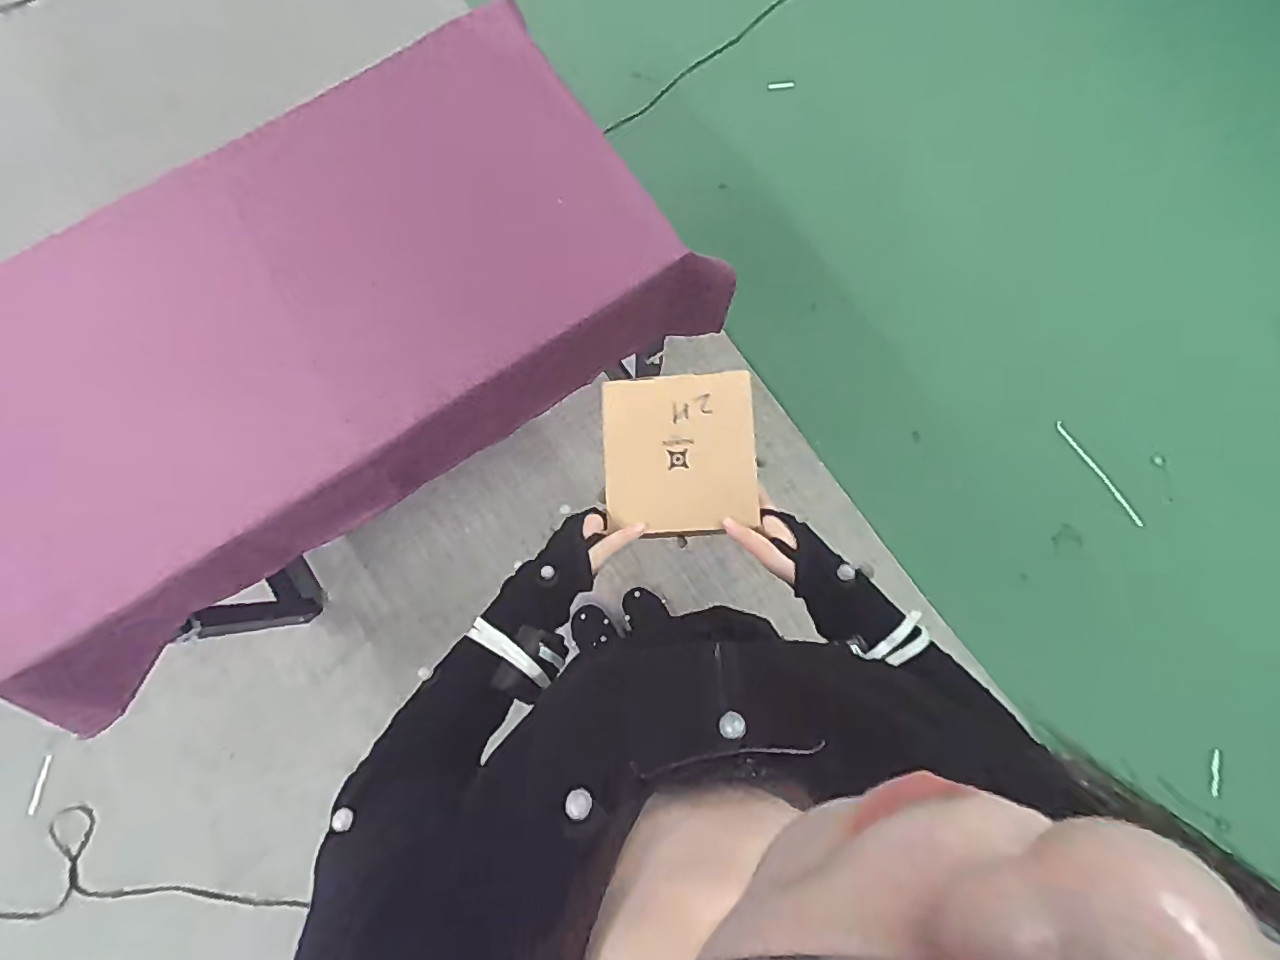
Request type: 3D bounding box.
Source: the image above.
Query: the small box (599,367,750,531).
[{"bbox_3d":[0.047,-0.026,0.679,0.168,0.176,0.179,-4,82,7],"label":"small box"}]
